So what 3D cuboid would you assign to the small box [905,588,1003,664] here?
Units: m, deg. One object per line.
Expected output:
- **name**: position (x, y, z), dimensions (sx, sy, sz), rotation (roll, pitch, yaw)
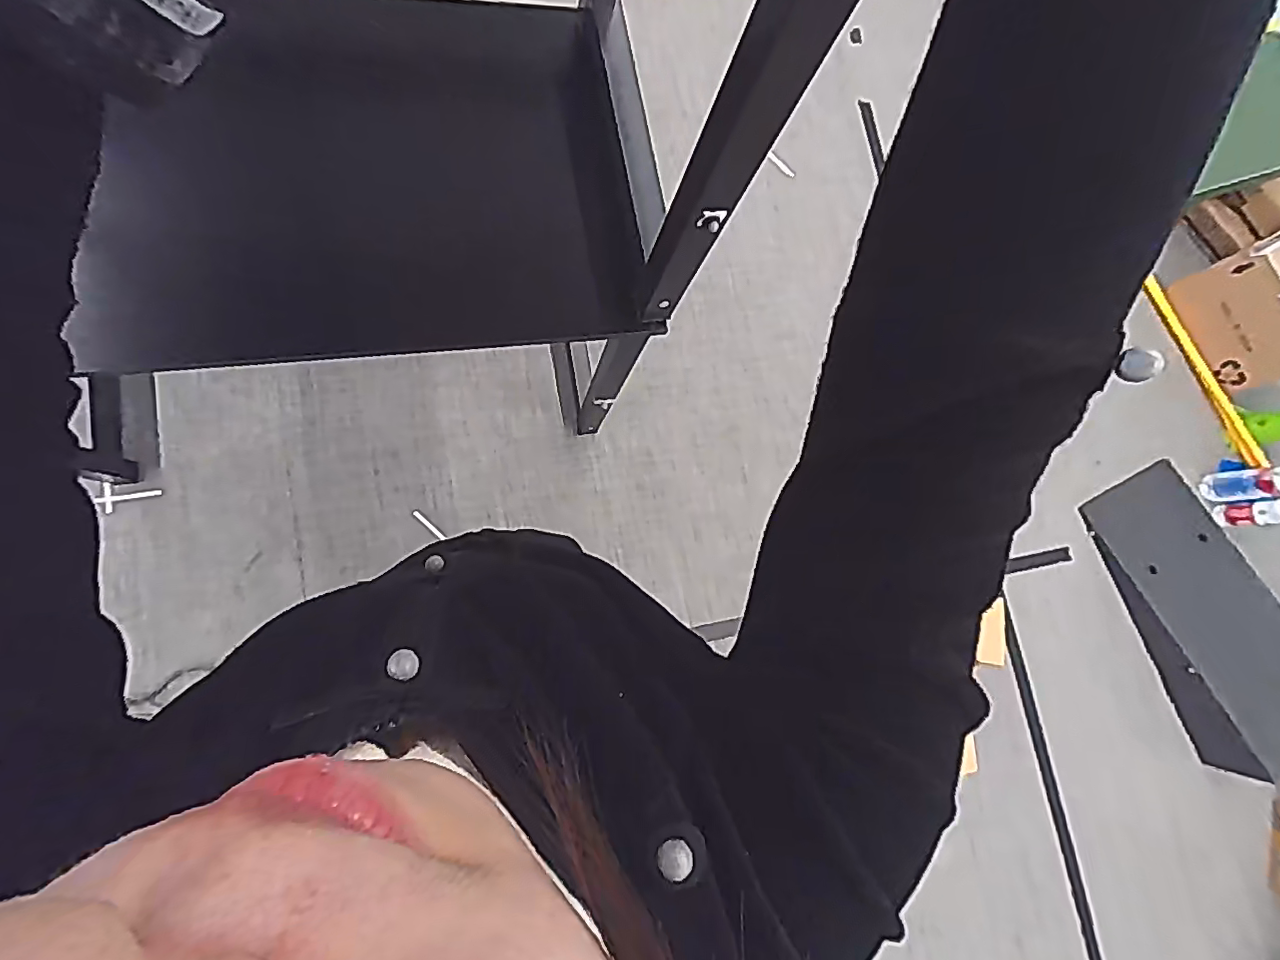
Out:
- **small box**: position (0.844, 0.389, 1.463), dimensions (0.168, 0.176, 0.179), rotation (9, 79, -11)
